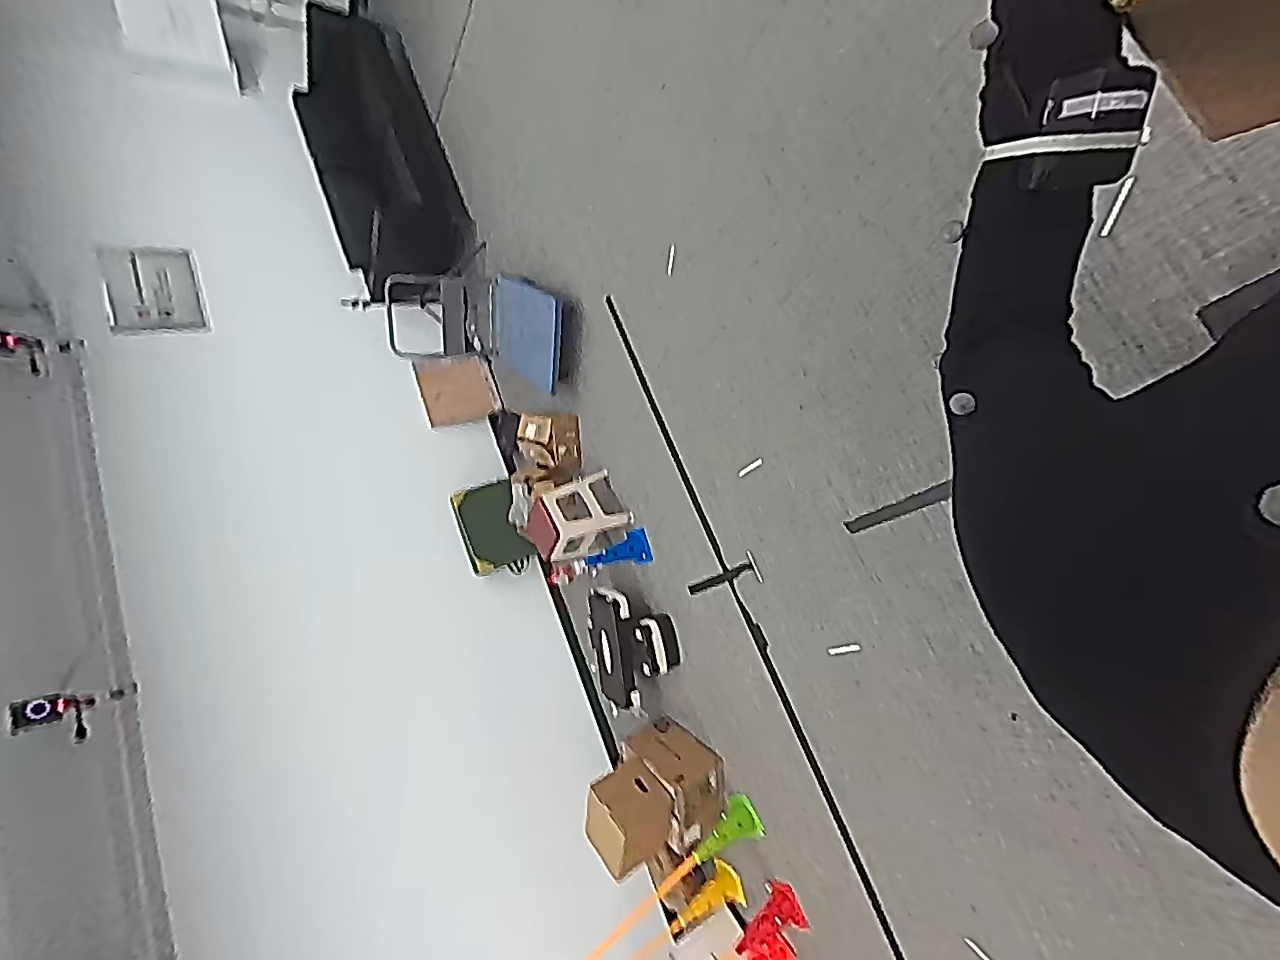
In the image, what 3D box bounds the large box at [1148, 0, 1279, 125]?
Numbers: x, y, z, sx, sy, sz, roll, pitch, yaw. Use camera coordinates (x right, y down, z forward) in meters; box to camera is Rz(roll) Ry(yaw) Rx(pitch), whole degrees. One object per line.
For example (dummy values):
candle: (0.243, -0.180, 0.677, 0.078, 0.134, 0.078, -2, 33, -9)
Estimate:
large box: (0.511, -0.445, 0.231, 0.408, 0.320, 0.320, 5, 100, 53)
